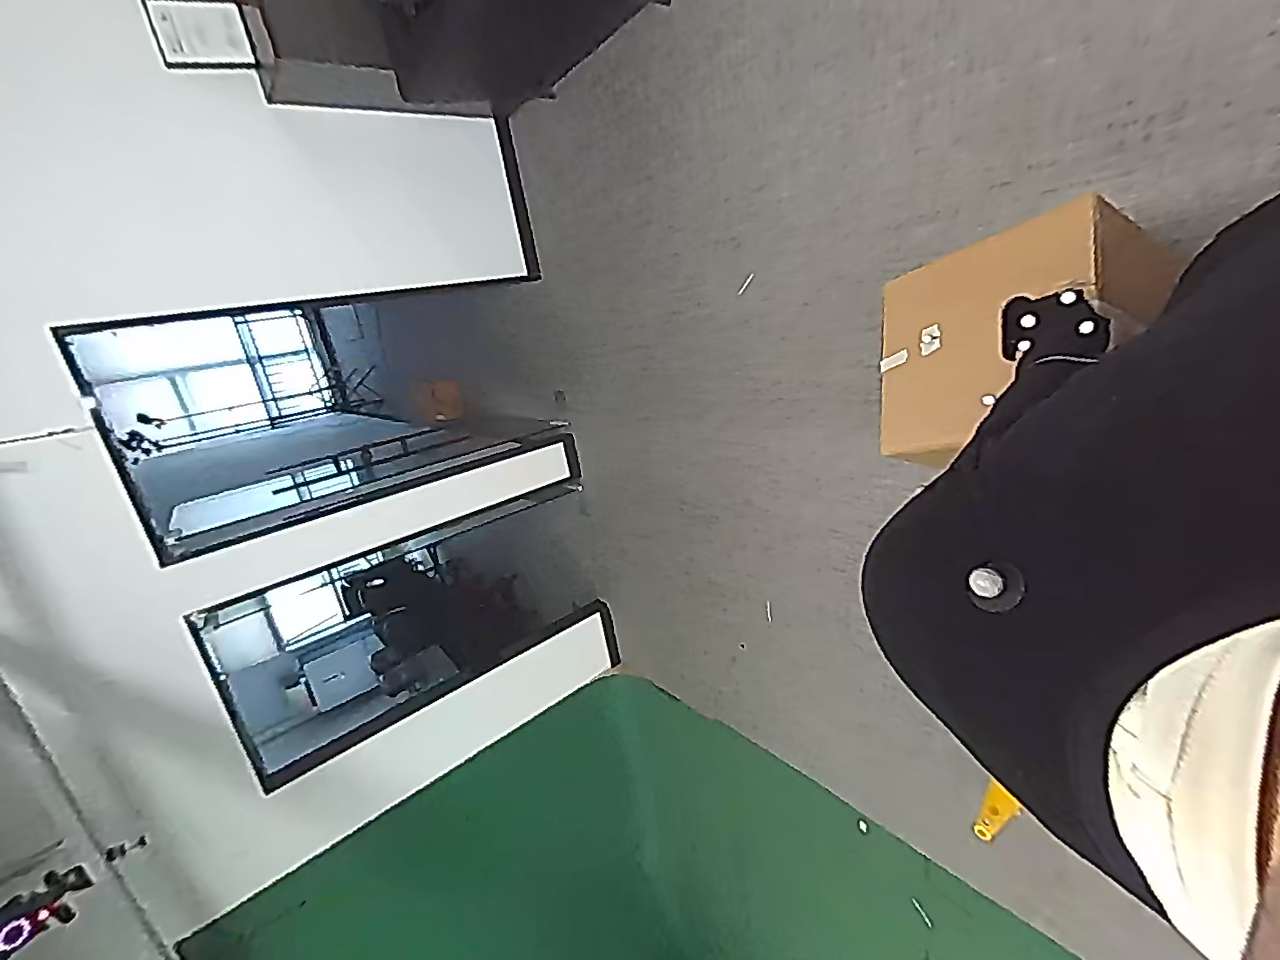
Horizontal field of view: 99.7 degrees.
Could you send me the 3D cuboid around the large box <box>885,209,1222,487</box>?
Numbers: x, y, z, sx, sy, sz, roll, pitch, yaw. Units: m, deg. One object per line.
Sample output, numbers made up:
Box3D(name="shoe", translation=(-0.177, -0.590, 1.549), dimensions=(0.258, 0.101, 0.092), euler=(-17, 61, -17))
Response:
Box3D(name="large box", translation=(0.671, -0.170, 0.903), dimensions=(0.320, 0.408, 0.320), euler=(-9, 75, 61))
